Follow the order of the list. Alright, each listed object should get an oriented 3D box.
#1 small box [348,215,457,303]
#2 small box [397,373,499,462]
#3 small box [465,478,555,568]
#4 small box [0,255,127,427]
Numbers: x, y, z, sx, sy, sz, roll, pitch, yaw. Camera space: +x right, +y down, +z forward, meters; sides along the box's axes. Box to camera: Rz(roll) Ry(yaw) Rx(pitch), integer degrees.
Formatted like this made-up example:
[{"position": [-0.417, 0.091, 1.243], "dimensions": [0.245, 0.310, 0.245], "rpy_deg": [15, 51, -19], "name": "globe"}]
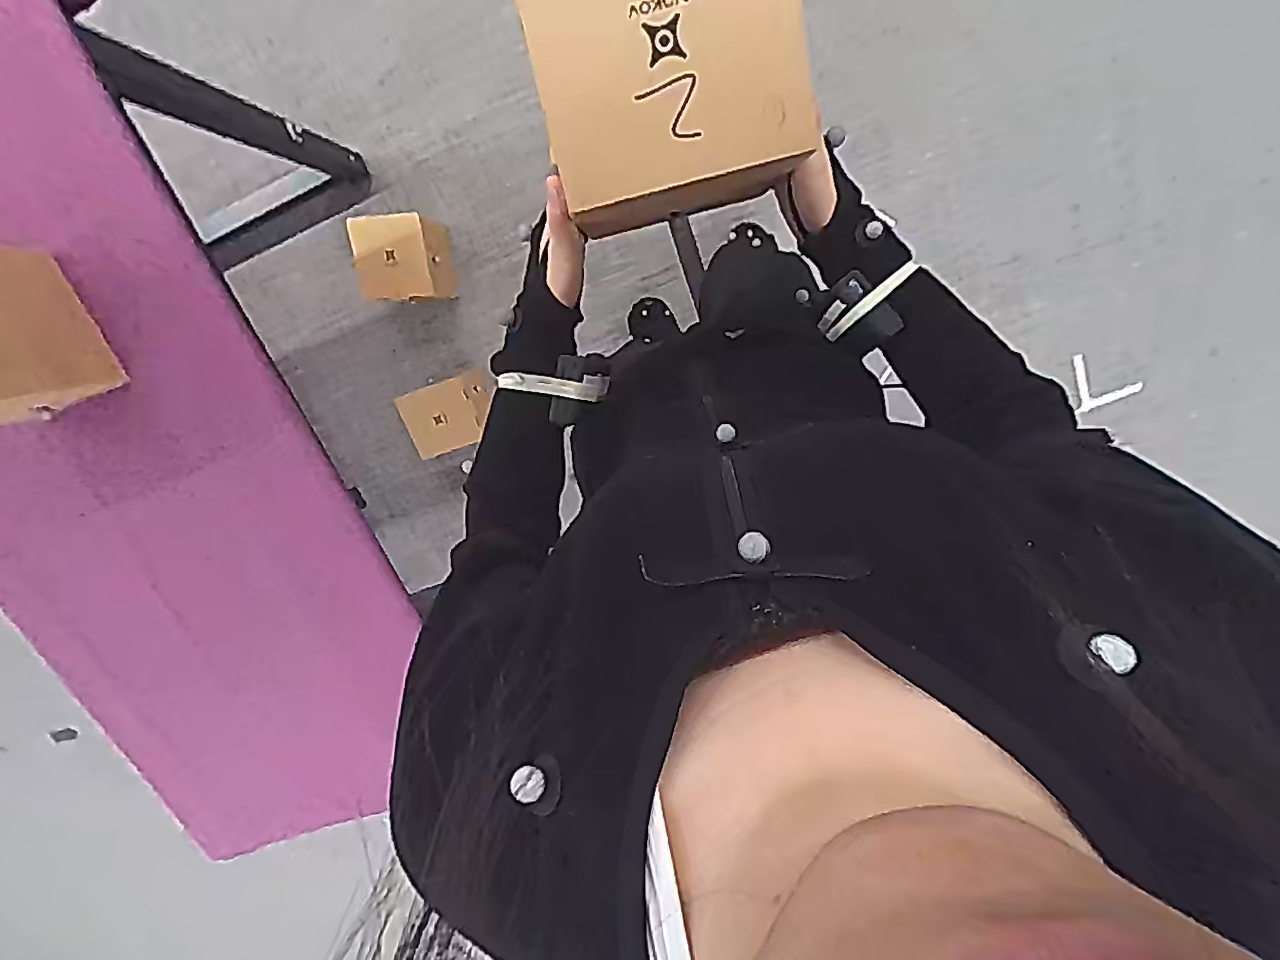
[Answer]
[{"position": [-0.553, -0.517, 1.283], "dimensions": [0.168, 0.176, 0.179], "rpy_deg": [-4, 109, 3], "name": "small box"}, {"position": [-0.483, -0.169, 1.398], "dimensions": [0.179, 0.176, 0.168], "rpy_deg": [-18, 106, 9], "name": "small box"}, {"position": [-0.345, 0.111, 1.486], "dimensions": [0.179, 0.176, 0.168], "rpy_deg": [-18, 107, 9], "name": "small box"}, {"position": [-0.791, -0.158, 0.640], "dimensions": [0.168, 0.176, 0.179], "rpy_deg": [-18, 108, 8], "name": "small box"}]
